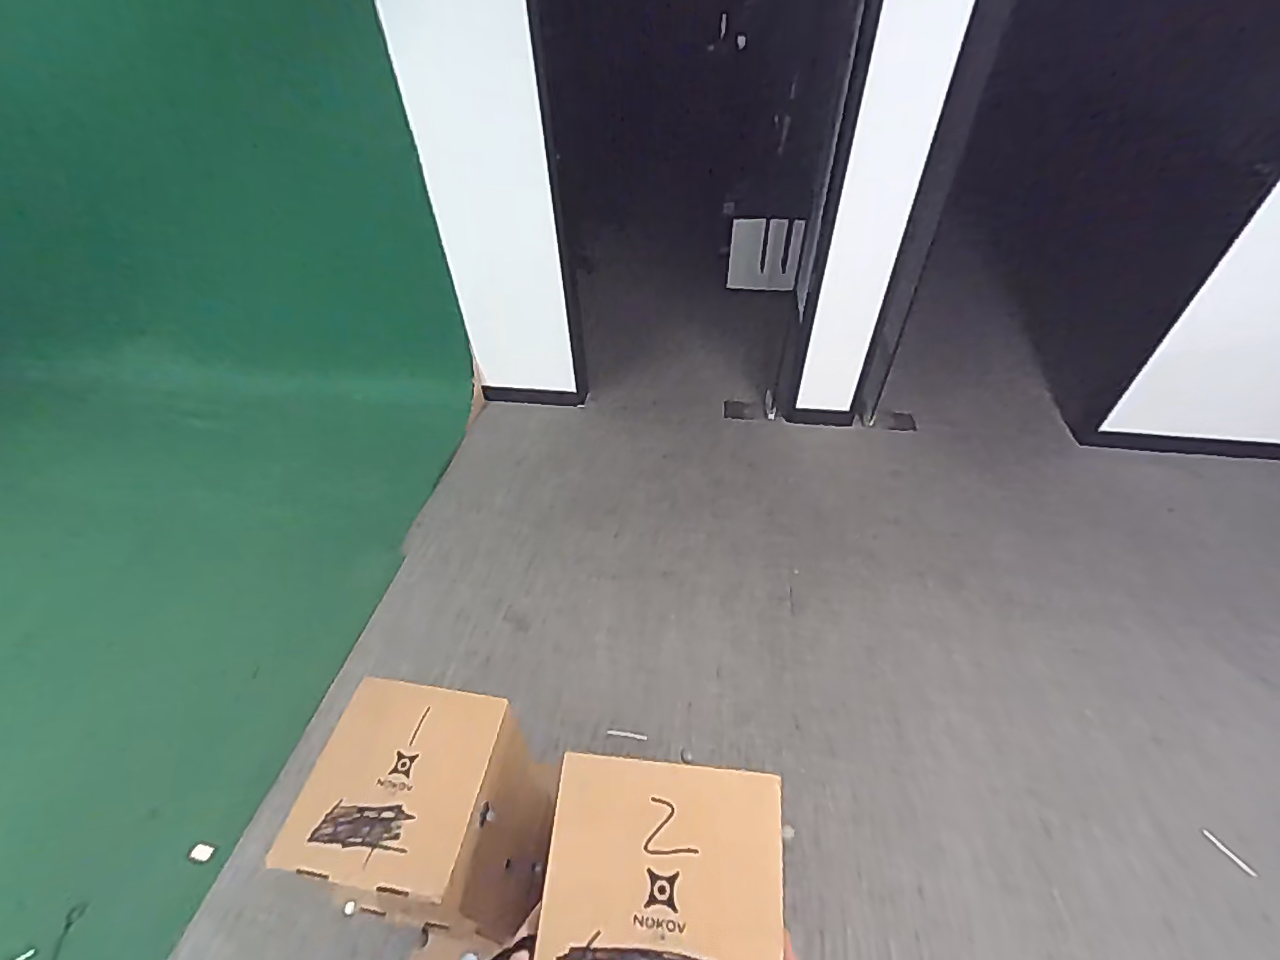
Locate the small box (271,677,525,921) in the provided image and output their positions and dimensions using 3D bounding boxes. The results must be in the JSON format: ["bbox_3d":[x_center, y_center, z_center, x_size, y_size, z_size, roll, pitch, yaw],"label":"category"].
[{"bbox_3d":[-0.230,0.340,0.575,0.168,0.176,0.179,7,44,5],"label":"small box"}]

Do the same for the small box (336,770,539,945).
[{"bbox_3d":[-0.235,0.461,0.686,0.168,0.176,0.179,7,46,5],"label":"small box"}]

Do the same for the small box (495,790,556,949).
[{"bbox_3d":[-0.230,0.570,0.809,0.168,0.176,0.179,8,45,7],"label":"small box"}]
